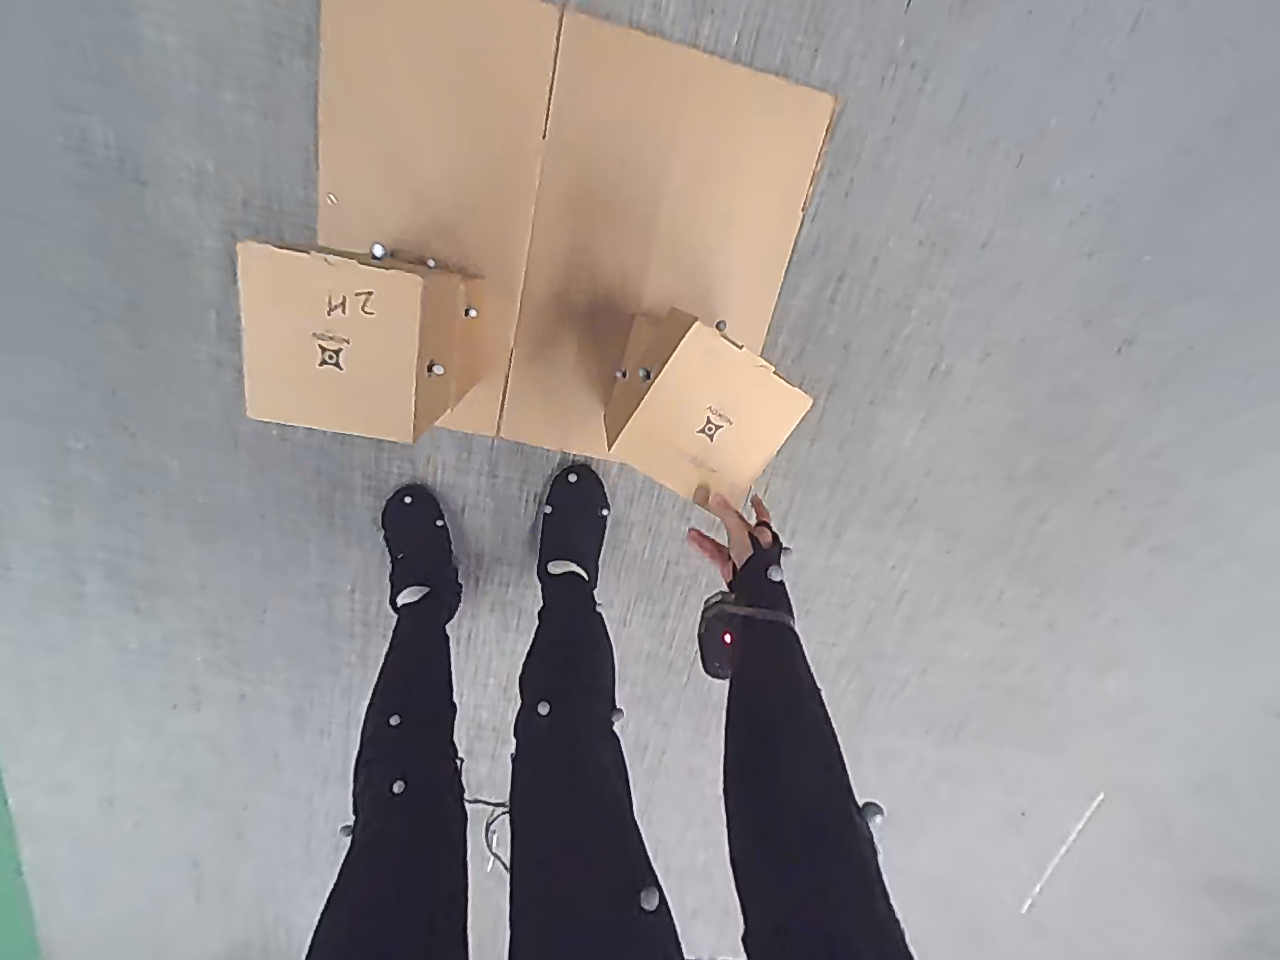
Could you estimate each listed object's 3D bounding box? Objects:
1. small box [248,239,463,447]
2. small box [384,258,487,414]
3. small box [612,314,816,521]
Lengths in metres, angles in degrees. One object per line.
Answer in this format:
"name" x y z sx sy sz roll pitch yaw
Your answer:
"small box" -0.305 -0.156 0.610 0.168 0.176 0.179 9 109 -10
"small box" -0.319 -0.208 0.766 0.168 0.176 0.179 9 109 -9
"small box" 0.075 -0.087 0.670 0.168 0.176 0.179 31 105 -16
